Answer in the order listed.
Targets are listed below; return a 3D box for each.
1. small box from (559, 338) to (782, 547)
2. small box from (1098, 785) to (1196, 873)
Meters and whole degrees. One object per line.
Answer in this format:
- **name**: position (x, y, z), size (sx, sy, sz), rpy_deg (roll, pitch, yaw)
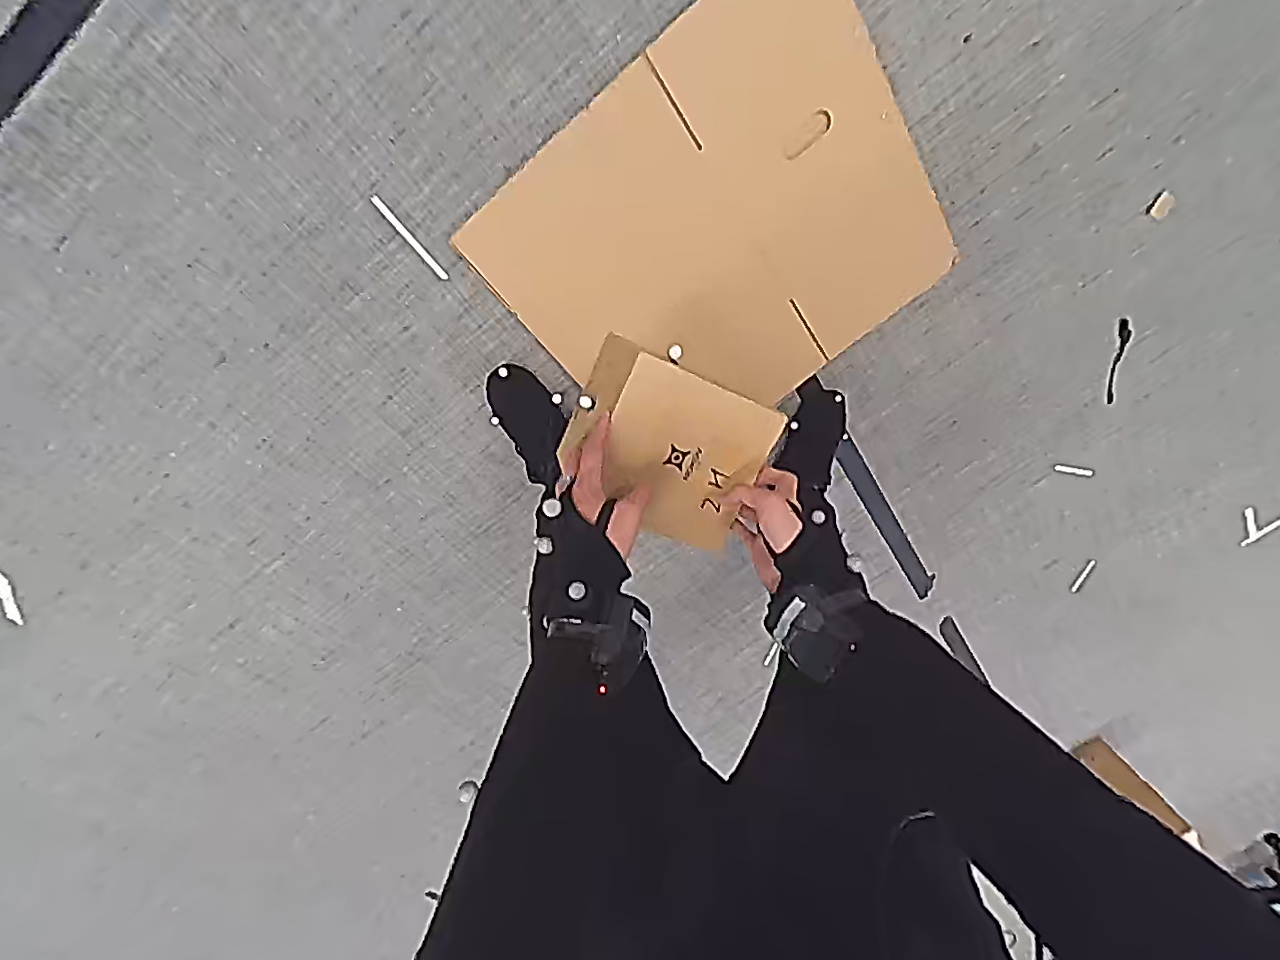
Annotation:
- **small box**: position (0.019, -0.052, 0.618), size (0.179, 0.176, 0.168), rpy_deg (20, 105, -21)
- **small box**: position (1.689, 1.162, 1.807), size (0.168, 0.176, 0.179), rpy_deg (-35, 118, 9)
